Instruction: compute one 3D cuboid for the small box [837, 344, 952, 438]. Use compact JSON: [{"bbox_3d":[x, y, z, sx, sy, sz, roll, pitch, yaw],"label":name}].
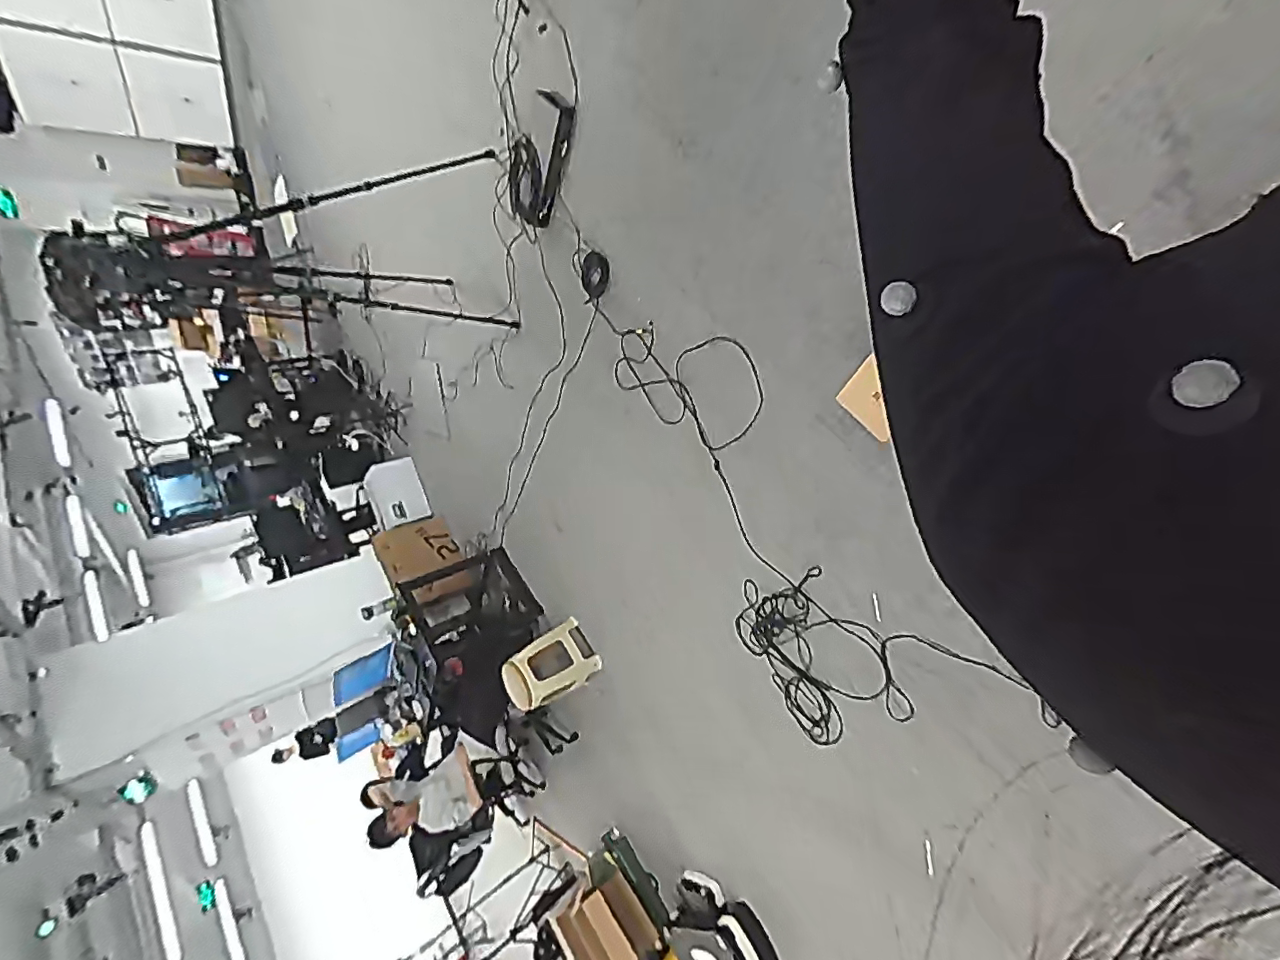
[{"bbox_3d":[0.660,-0.237,1.406,0.179,0.176,0.168,52,138,23],"label":"small box"}]
